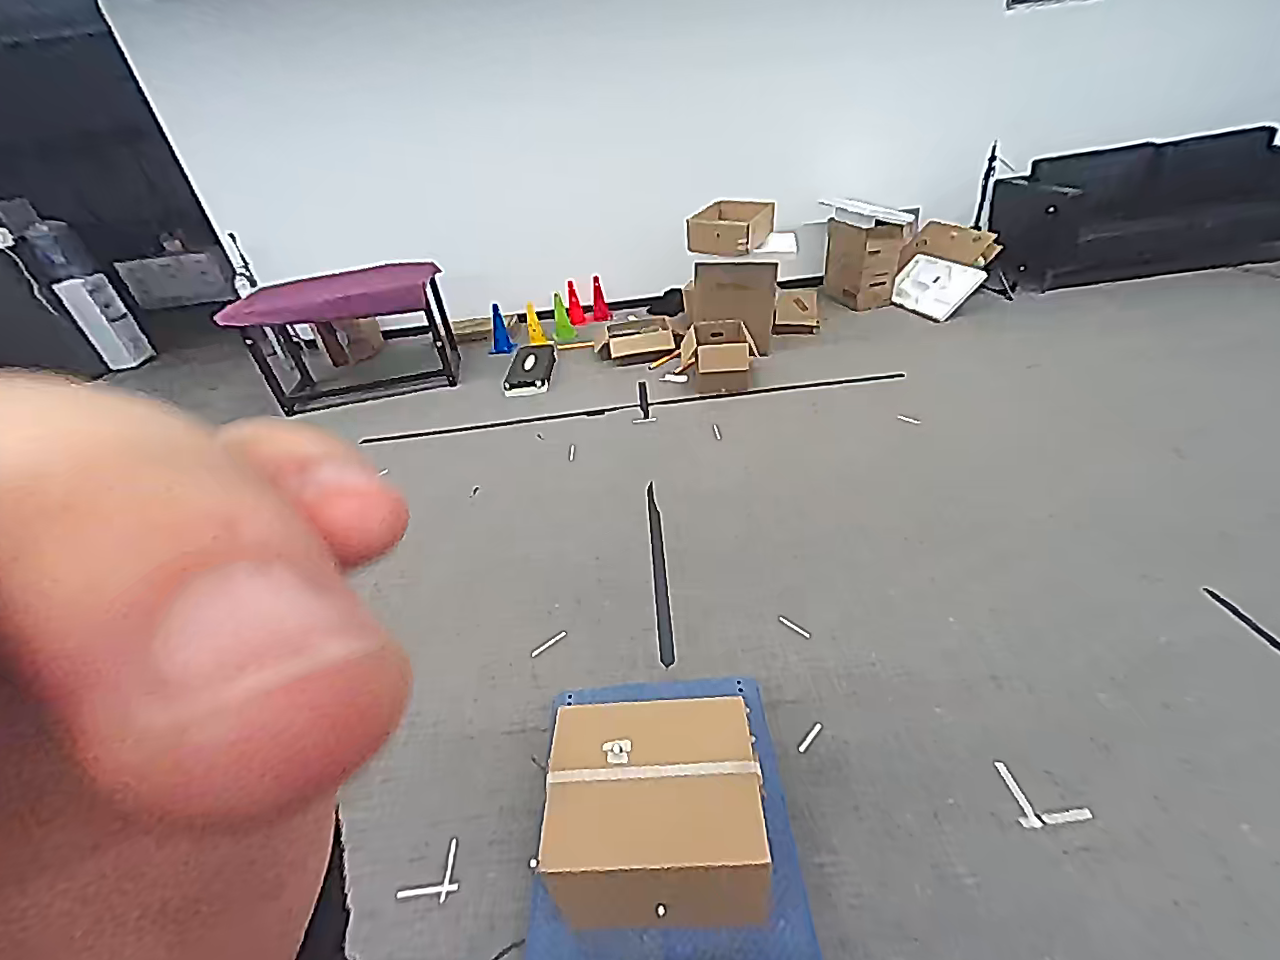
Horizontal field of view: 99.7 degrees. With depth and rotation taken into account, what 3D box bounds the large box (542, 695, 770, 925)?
[{"bbox_3d":[0.041,0.693,1.139,0.408,0.320,0.320,-6,34,4],"label":"large box"}]
